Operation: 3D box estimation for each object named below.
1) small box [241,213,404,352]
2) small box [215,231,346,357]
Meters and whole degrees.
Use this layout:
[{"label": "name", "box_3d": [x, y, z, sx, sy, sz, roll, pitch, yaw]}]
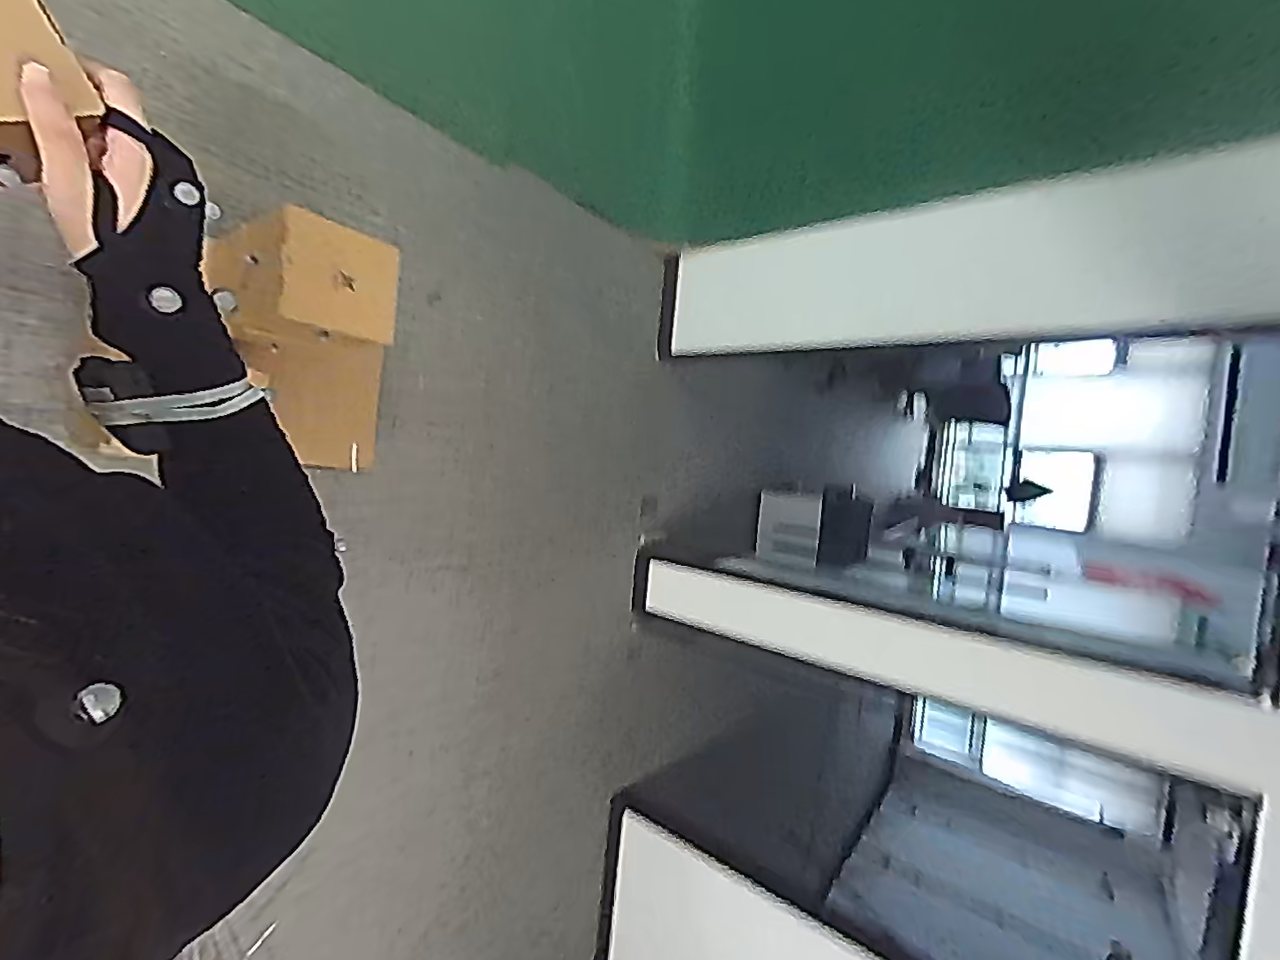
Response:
[{"label": "small box", "box_3d": [-0.528, -0.316, 0.904, 0.179, 0.176, 0.168, 6, 91, -53]}, {"label": "small box", "box_3d": [-0.659, -0.329, 1.001, 0.168, 0.176, 0.179, 2, 94, -55]}]
